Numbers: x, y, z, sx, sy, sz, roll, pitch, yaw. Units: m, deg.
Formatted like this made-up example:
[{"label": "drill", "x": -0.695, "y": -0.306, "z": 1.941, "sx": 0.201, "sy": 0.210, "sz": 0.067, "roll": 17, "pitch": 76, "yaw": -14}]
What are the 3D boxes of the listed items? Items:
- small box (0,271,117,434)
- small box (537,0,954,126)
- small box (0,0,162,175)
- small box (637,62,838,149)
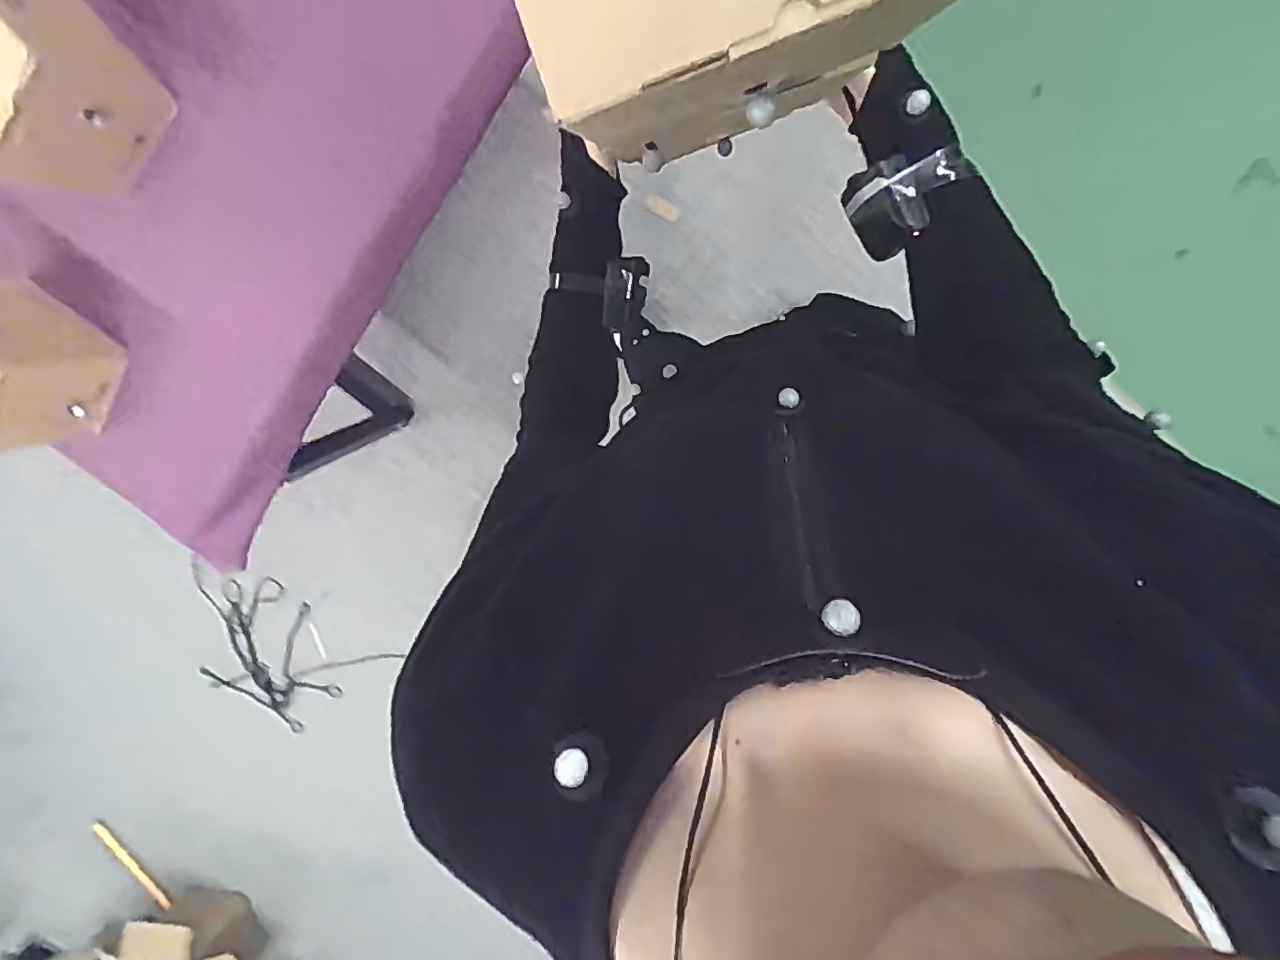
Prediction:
[{"label": "small box", "x": -0.899, "y": -0.174, "z": 0.743, "sx": 0.179, "sy": 0.176, "sz": 0.168, "roll": 39, "pitch": 109, "yaw": -9}, {"label": "small box", "x": 0.036, "y": -0.254, "z": 0.191, "sx": 0.168, "sy": 0.176, "sz": 0.179, "roll": -12, "pitch": 117, "yaw": 13}, {"label": "small box", "x": -0.711, "y": -0.475, "z": 0.608, "sx": 0.168, "sy": 0.176, "sz": 0.179, "roll": -37, "pitch": 102, "yaw": 17}, {"label": "small box", "x": 0.063, "y": -0.415, "z": 0.477, "sx": 0.168, "sy": 0.176, "sz": 0.179, "roll": -14, "pitch": 117, "yaw": 13}]
